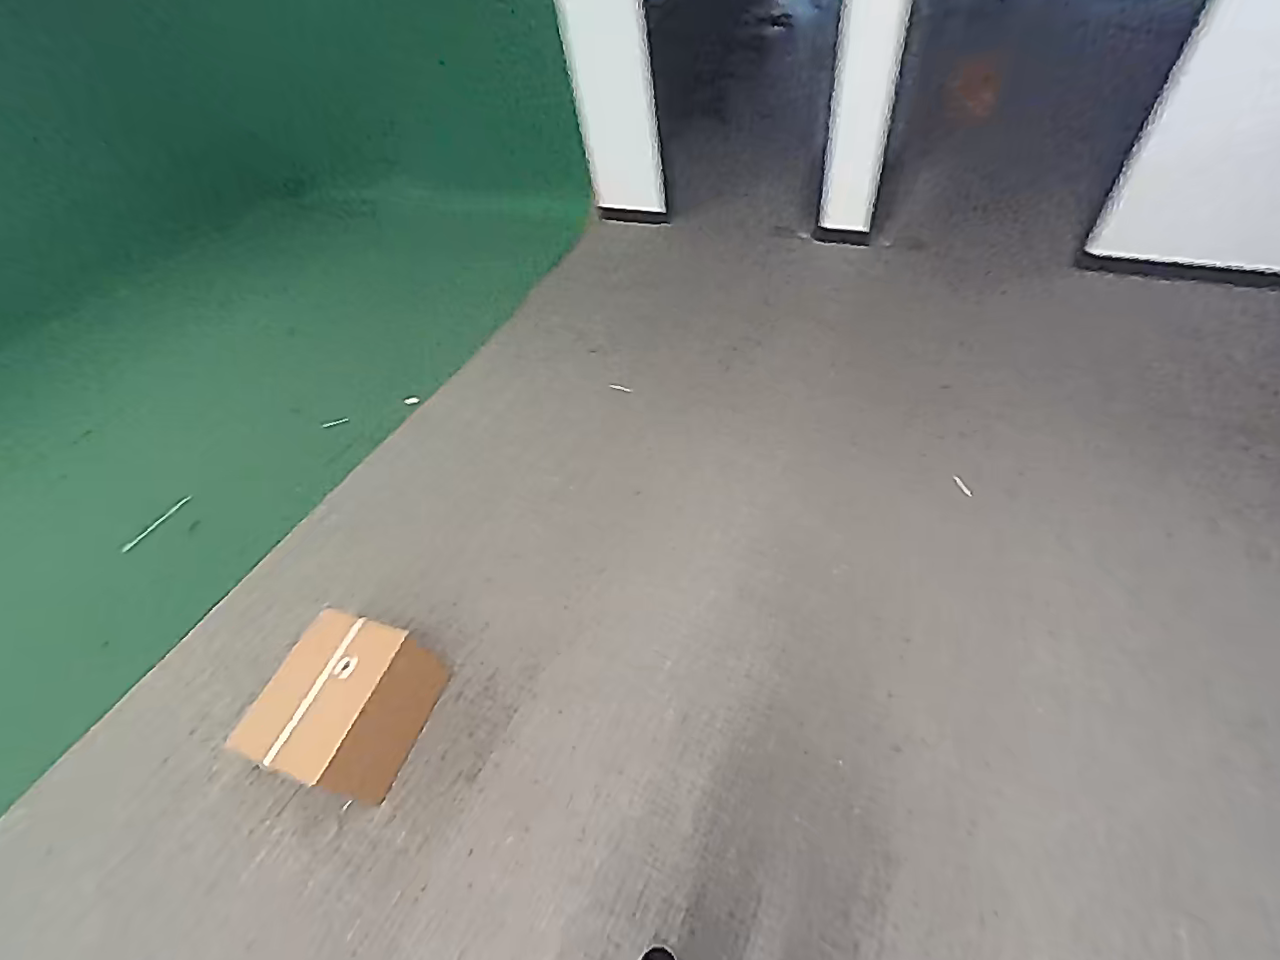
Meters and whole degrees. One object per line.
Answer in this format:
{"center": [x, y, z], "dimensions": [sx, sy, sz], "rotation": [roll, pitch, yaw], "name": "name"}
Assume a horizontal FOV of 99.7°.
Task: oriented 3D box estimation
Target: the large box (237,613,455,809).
{"center": [-0.815, 0.663, 1.565], "dimensions": [0.320, 0.320, 0.408], "rotation": [10, 52, 19], "name": "large box"}
